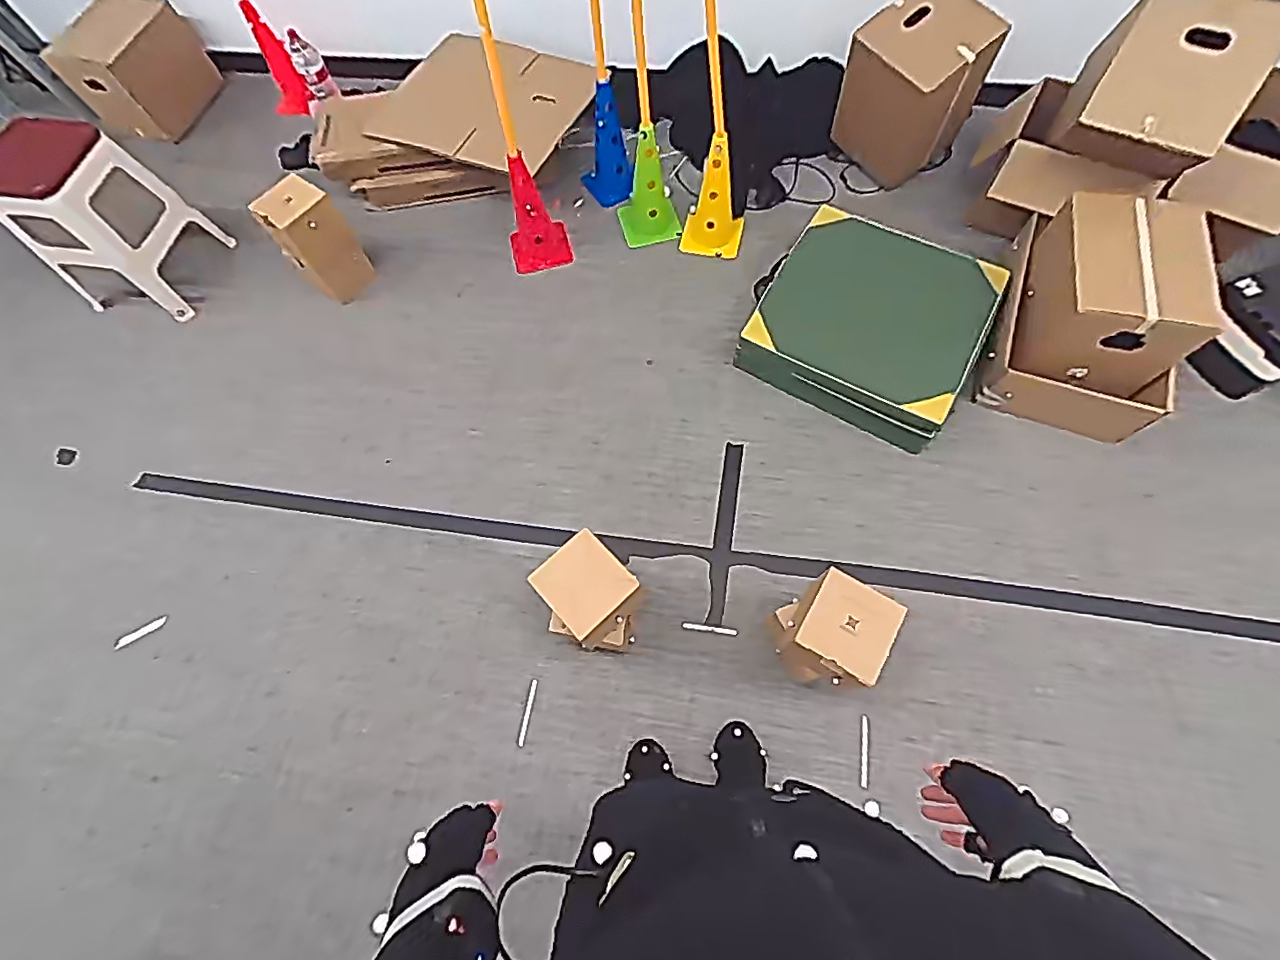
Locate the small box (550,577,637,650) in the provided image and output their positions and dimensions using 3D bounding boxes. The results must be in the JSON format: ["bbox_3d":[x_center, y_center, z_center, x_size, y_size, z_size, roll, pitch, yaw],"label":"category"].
[{"bbox_3d":[-0.103,0.319,1.340,0.179,0.176,0.168,9,67,8],"label":"small box"}]

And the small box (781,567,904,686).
[{"bbox_3d":[0.414,0.314,1.137,0.168,0.176,0.179,30,72,13],"label":"small box"}]

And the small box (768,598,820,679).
[{"bbox_3d":[0.419,0.367,1.292,0.179,0.176,0.168,-20,69,-5],"label":"small box"}]

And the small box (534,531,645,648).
[{"bbox_3d":[-0.110,0.242,1.191,0.168,0.176,0.179,-42,70,-14],"label":"small box"}]
